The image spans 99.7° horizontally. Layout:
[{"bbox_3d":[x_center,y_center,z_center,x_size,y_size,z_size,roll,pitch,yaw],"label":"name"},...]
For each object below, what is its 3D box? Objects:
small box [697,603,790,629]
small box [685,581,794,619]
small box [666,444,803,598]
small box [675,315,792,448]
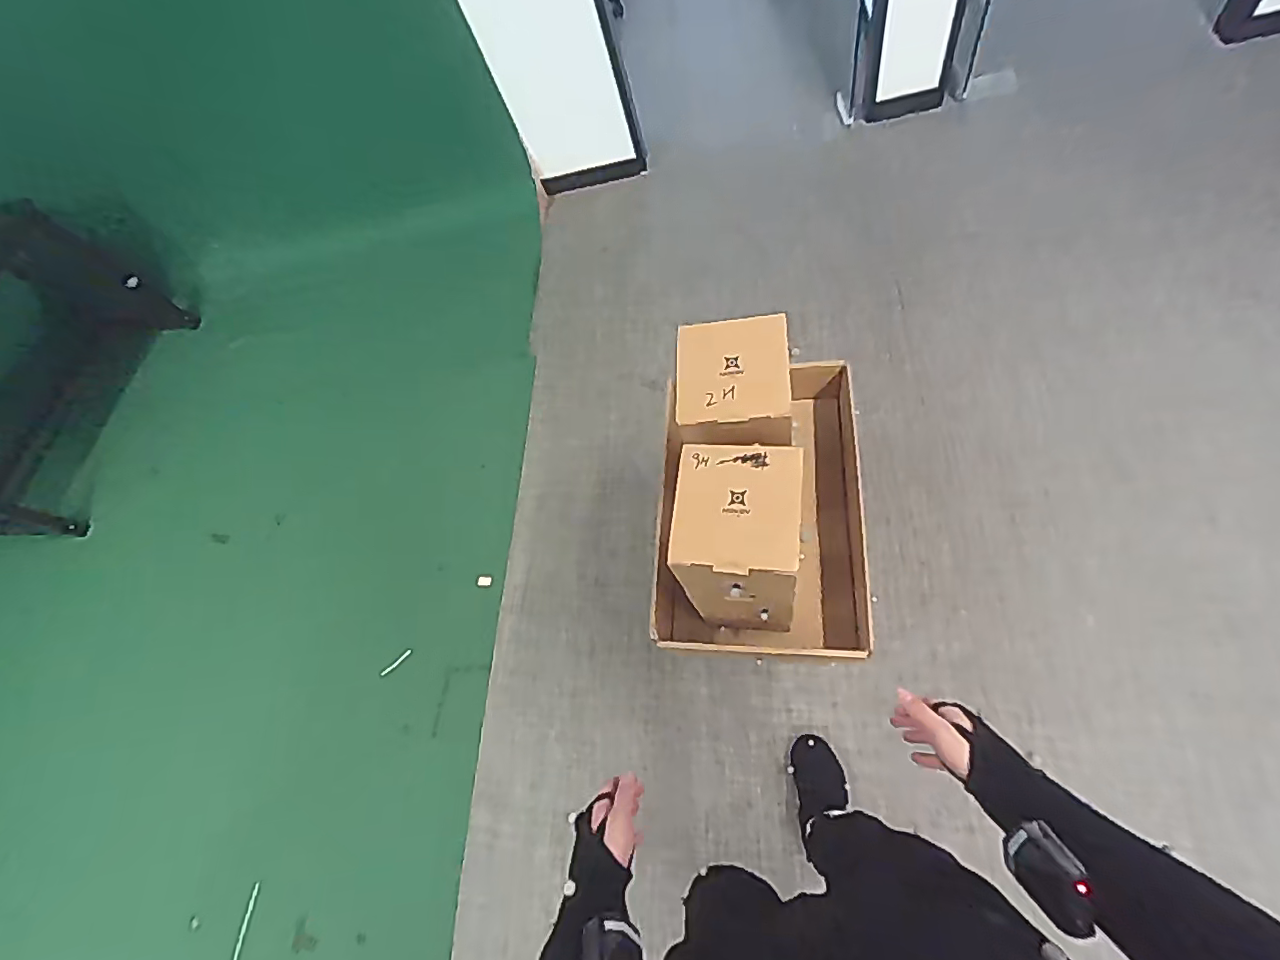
[{"bbox_3d":[0.211,0.191,1.070,0.168,0.176,0.179,0,65,15],"label":"small box"},{"bbox_3d":[0.179,0.132,0.921,0.168,0.176,0.179,2,66,16],"label":"small box"},{"bbox_3d":[0.143,0.064,0.777,0.168,0.176,0.179,3,67,16],"label":"small box"},{"bbox_3d":[0.155,-0.136,0.870,0.168,0.176,0.179,-2,68,15],"label":"small box"}]
